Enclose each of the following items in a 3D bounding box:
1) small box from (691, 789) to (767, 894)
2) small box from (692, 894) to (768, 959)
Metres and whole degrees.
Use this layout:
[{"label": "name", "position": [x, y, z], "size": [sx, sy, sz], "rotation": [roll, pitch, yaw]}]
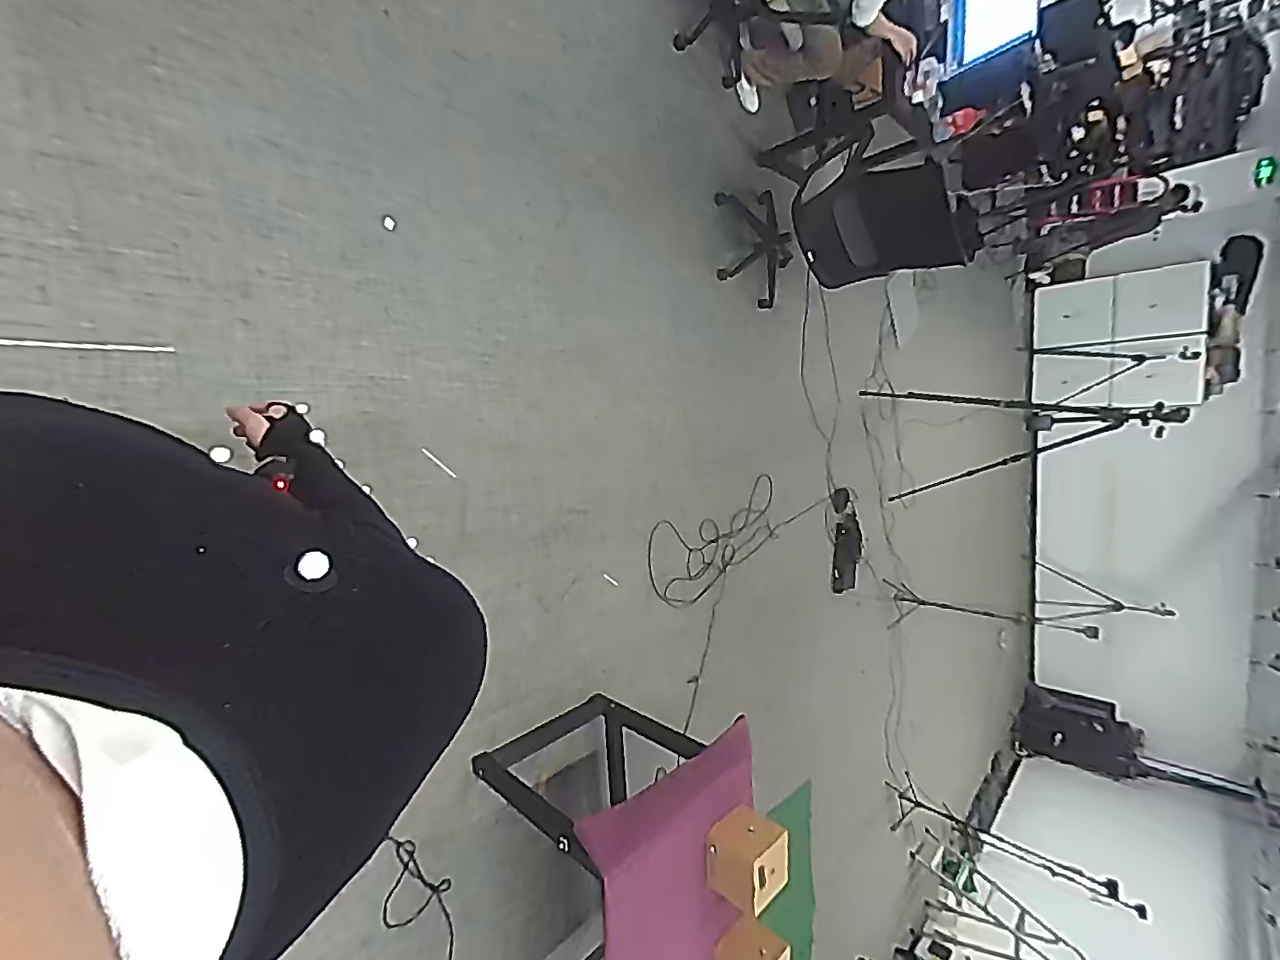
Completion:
[{"label": "small box", "position": [0.267, 1.084, 1.639], "size": [0.179, 0.176, 0.168], "rotation": [-7, 99, -45]}, {"label": "small box", "position": [0.282, 1.458, 1.690], "size": [0.179, 0.176, 0.168], "rotation": [-4, 96, -45]}]
